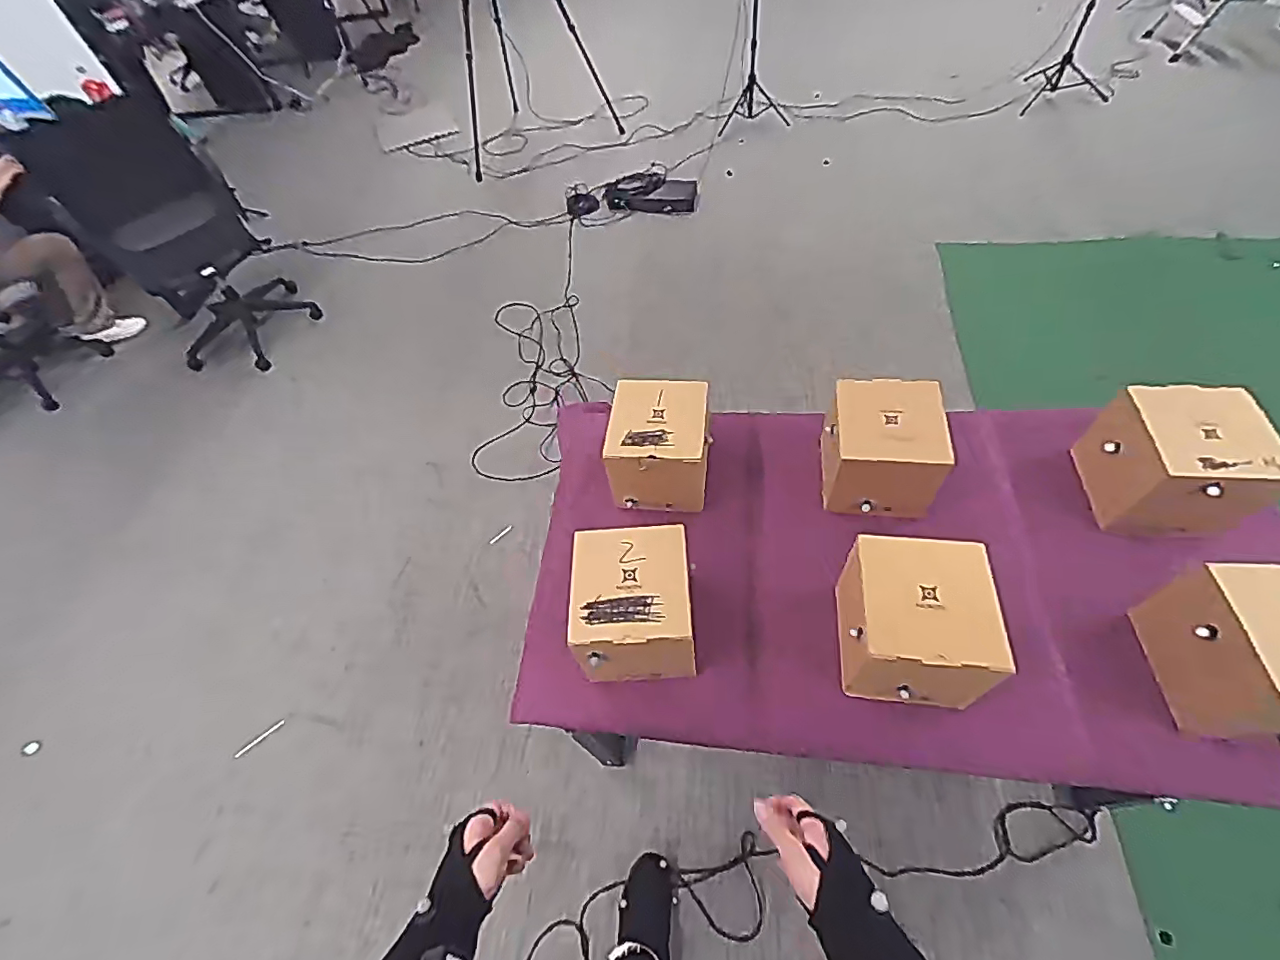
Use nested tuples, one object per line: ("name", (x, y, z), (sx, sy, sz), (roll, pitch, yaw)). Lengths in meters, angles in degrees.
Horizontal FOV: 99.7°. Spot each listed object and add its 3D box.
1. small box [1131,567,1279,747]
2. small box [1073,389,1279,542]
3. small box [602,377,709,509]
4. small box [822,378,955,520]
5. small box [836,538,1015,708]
("small box", (0.795, 0.229, 0.694), (0.168, 0.176, 0.179), (1, 56, 9))
("small box", (0.842, -0.022, 0.861), (0.168, 0.176, 0.179), (3, 57, 9))
("small box", (0.037, -0.063, 0.975), (0.168, 0.176, 0.179), (4, 58, 8))
("small box", (0.412, -0.052, 0.931), (0.168, 0.176, 0.179), (4, 58, 10))
("small box", (0.382, 0.203, 0.763), (0.168, 0.176, 0.179), (4, 56, 8))
